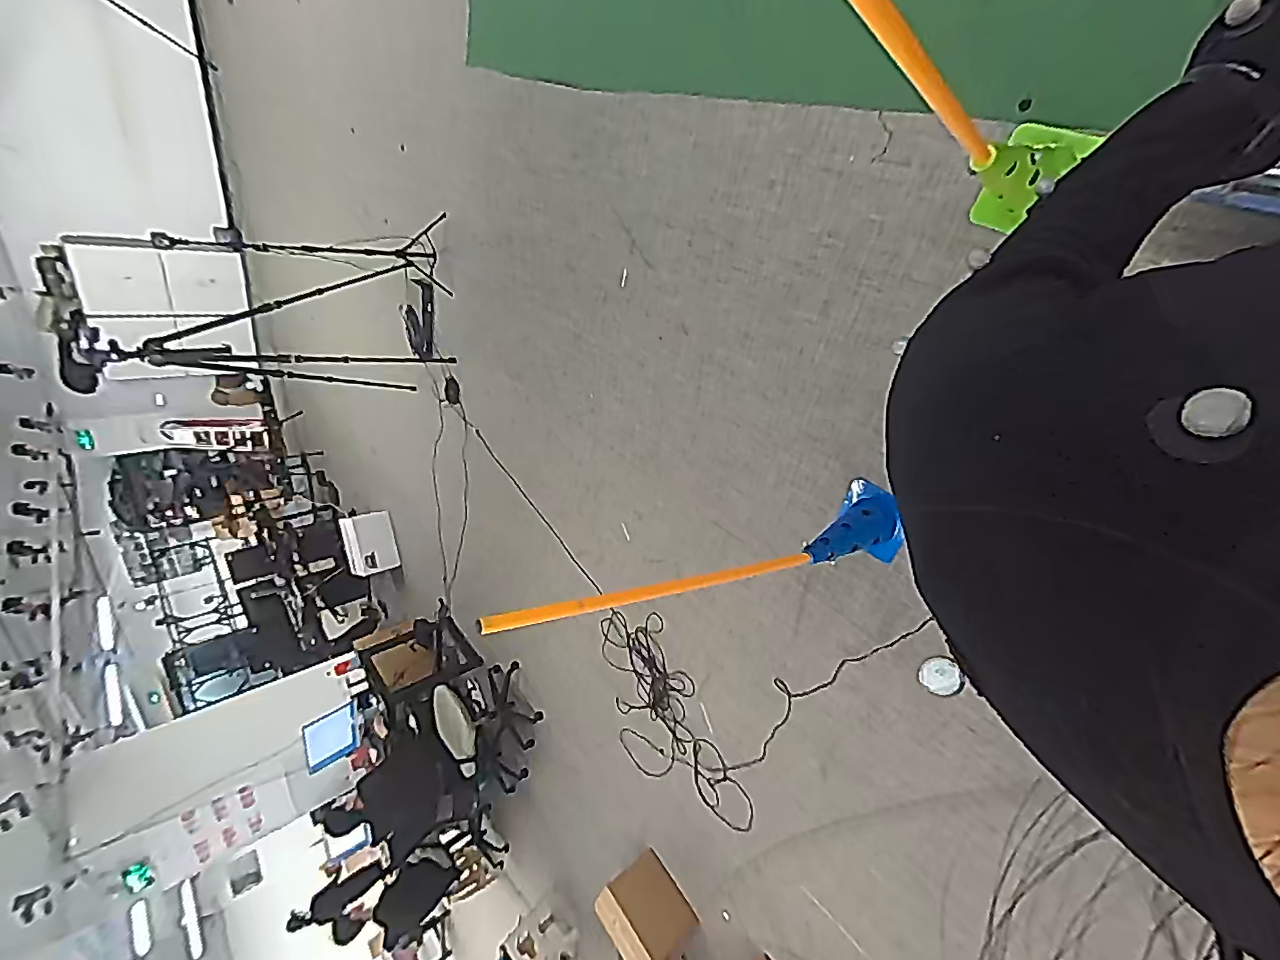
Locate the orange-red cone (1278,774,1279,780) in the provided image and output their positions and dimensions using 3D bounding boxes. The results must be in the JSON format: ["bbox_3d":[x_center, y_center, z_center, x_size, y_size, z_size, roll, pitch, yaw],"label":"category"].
[{"bbox_3d":[1.224,0.604,0.878,0.199,0.360,0.198,38,128,38],"label":"orange-red cone"}]

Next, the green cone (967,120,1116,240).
[{"bbox_3d":[0.724,-0.606,1.044,0.202,0.368,0.200,42,130,34],"label":"green cone"}]
